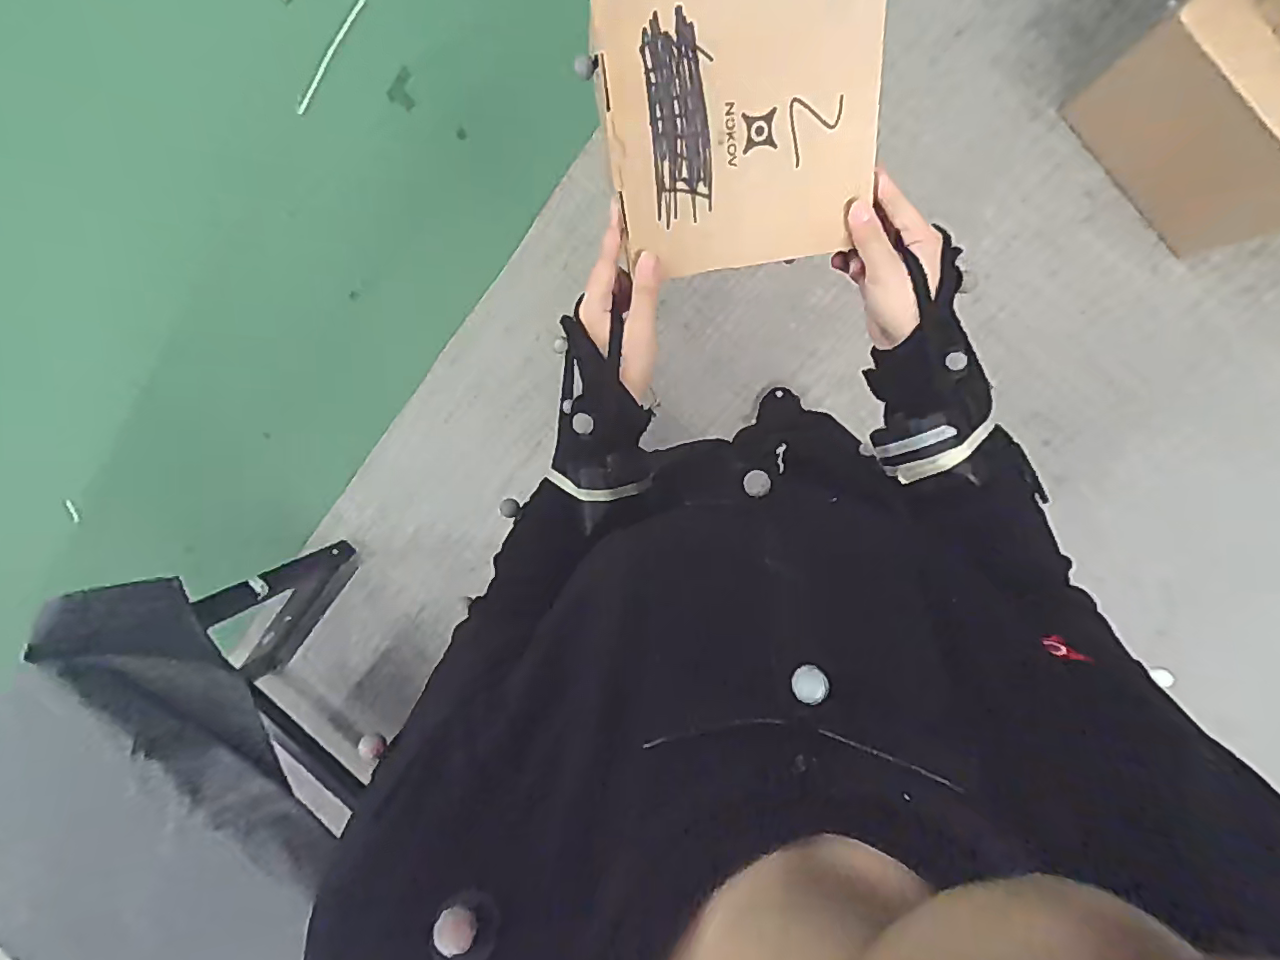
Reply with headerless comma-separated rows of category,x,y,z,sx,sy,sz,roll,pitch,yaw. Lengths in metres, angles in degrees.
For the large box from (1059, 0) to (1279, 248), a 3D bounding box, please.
large box,1.059,-0.683,0.921,0.320,0.320,0.408,-42,92,15
